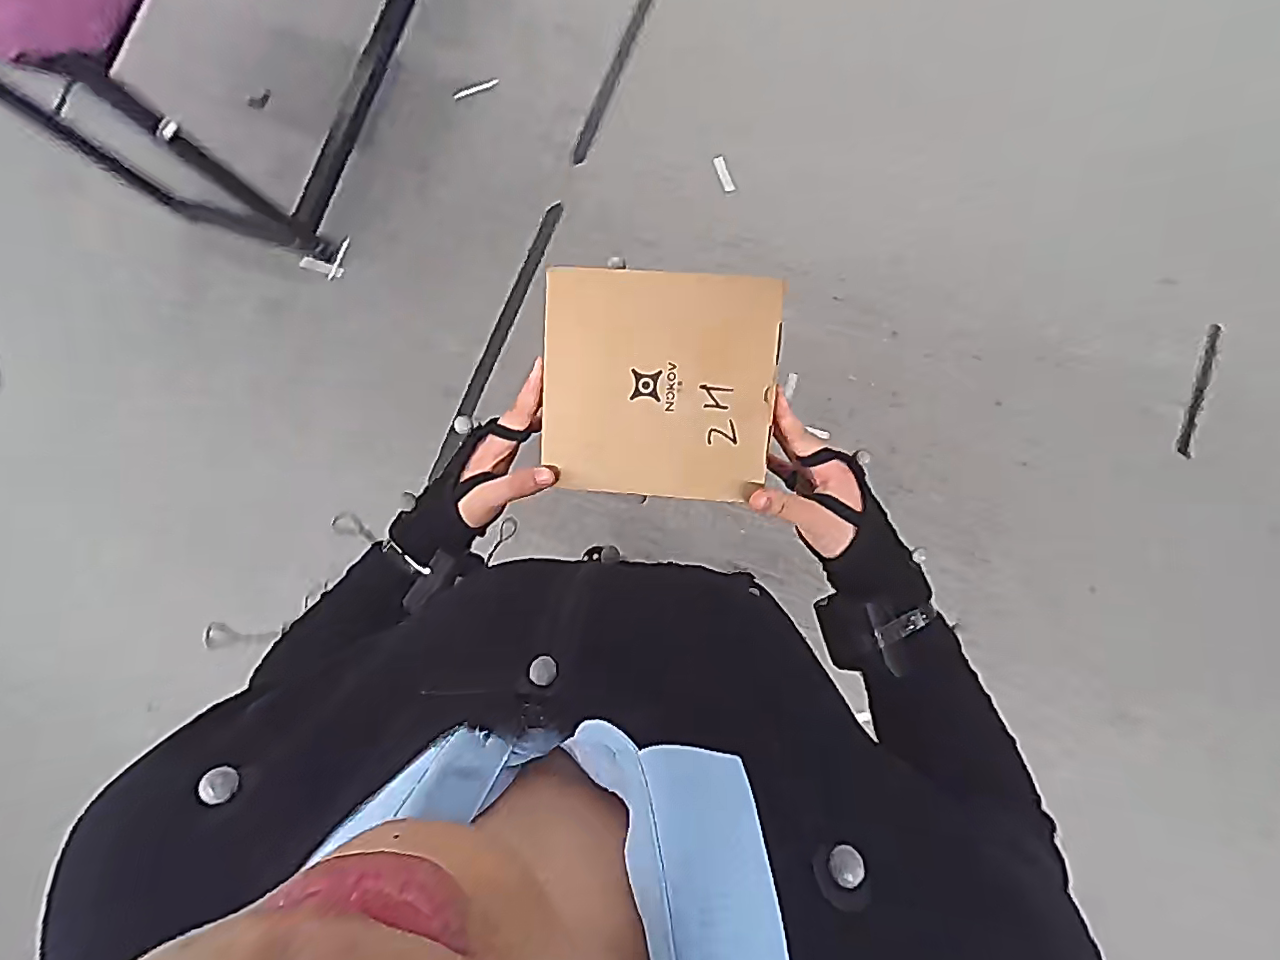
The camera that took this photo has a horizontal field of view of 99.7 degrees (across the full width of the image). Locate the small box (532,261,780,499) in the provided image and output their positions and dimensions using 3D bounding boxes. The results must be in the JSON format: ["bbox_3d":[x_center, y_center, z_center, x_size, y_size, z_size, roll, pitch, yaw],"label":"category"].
[{"bbox_3d":[0.015,-0.086,0.476,0.179,0.176,0.168,4,101,4],"label":"small box"}]
